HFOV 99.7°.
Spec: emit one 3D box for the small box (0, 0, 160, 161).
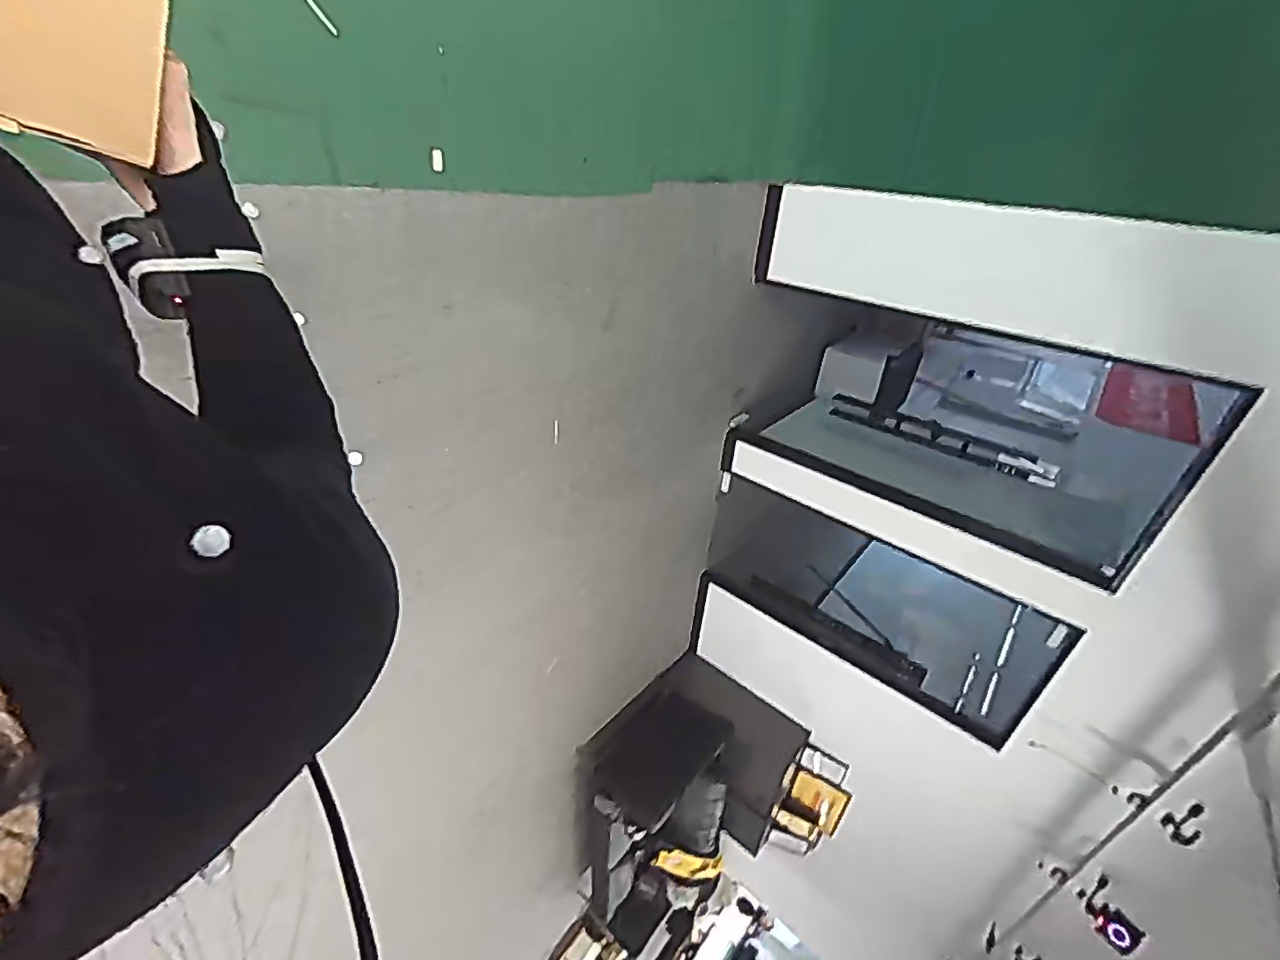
[{"bbox_3d":[-0.401,-0.317,0.295,0.168,0.176,0.179,-11,128,-59],"label":"small box"}]
